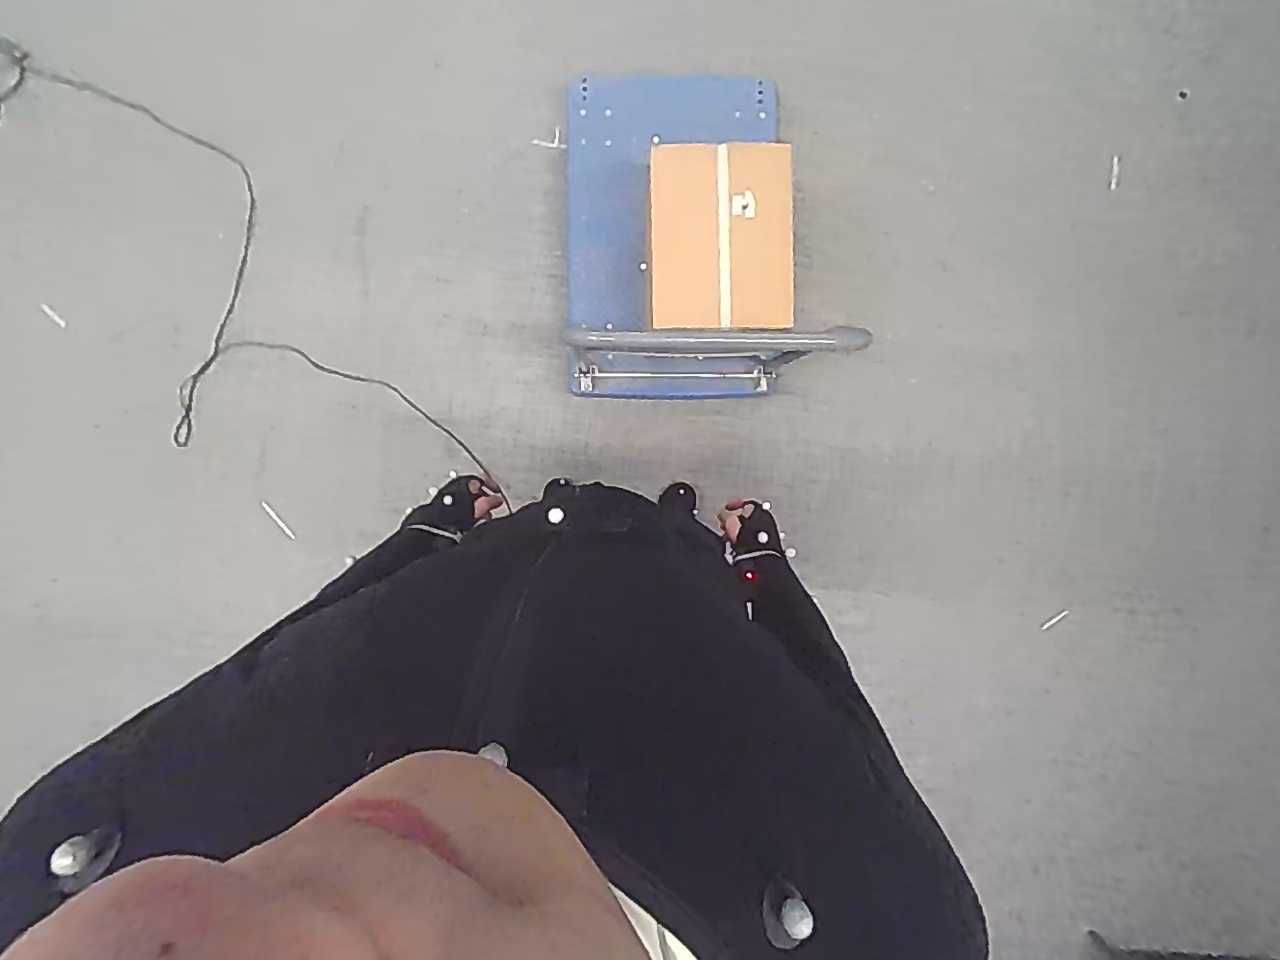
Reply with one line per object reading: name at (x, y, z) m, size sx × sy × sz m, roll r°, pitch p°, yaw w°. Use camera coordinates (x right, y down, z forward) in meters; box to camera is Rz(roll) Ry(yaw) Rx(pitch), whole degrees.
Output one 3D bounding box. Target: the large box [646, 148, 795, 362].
large box at (0.176, -0.523, 1.327) m, size 0.320 × 0.320 × 0.408 m, roll -1°, pitch 90°, yaw -3°
